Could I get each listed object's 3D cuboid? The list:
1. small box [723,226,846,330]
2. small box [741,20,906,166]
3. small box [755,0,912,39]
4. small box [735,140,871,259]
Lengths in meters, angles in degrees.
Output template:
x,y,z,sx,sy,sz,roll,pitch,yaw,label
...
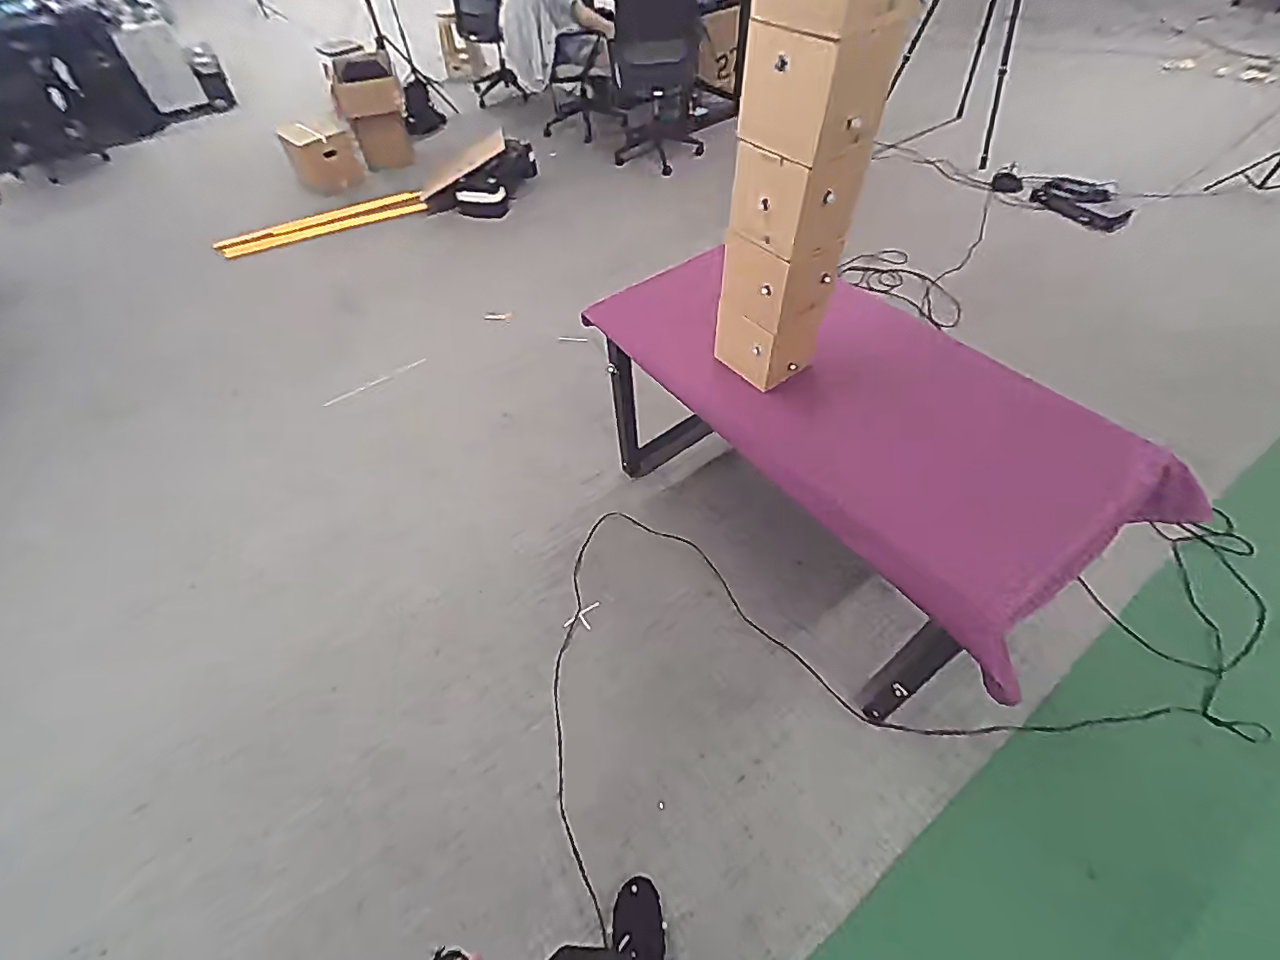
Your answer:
x,y,z,sx,sy,sz,roll,pitch,yaw,label
0.295,-0.442,1.142,0.168,0.176,0.179,-32,57,-20,small box
0.285,-0.643,0.885,0.168,0.176,0.179,-33,59,-21,small box
0.284,-0.743,0.756,0.168,0.176,0.179,-33,57,-21,small box
0.294,-0.545,1.016,0.179,0.176,0.168,-33,58,-20,small box
